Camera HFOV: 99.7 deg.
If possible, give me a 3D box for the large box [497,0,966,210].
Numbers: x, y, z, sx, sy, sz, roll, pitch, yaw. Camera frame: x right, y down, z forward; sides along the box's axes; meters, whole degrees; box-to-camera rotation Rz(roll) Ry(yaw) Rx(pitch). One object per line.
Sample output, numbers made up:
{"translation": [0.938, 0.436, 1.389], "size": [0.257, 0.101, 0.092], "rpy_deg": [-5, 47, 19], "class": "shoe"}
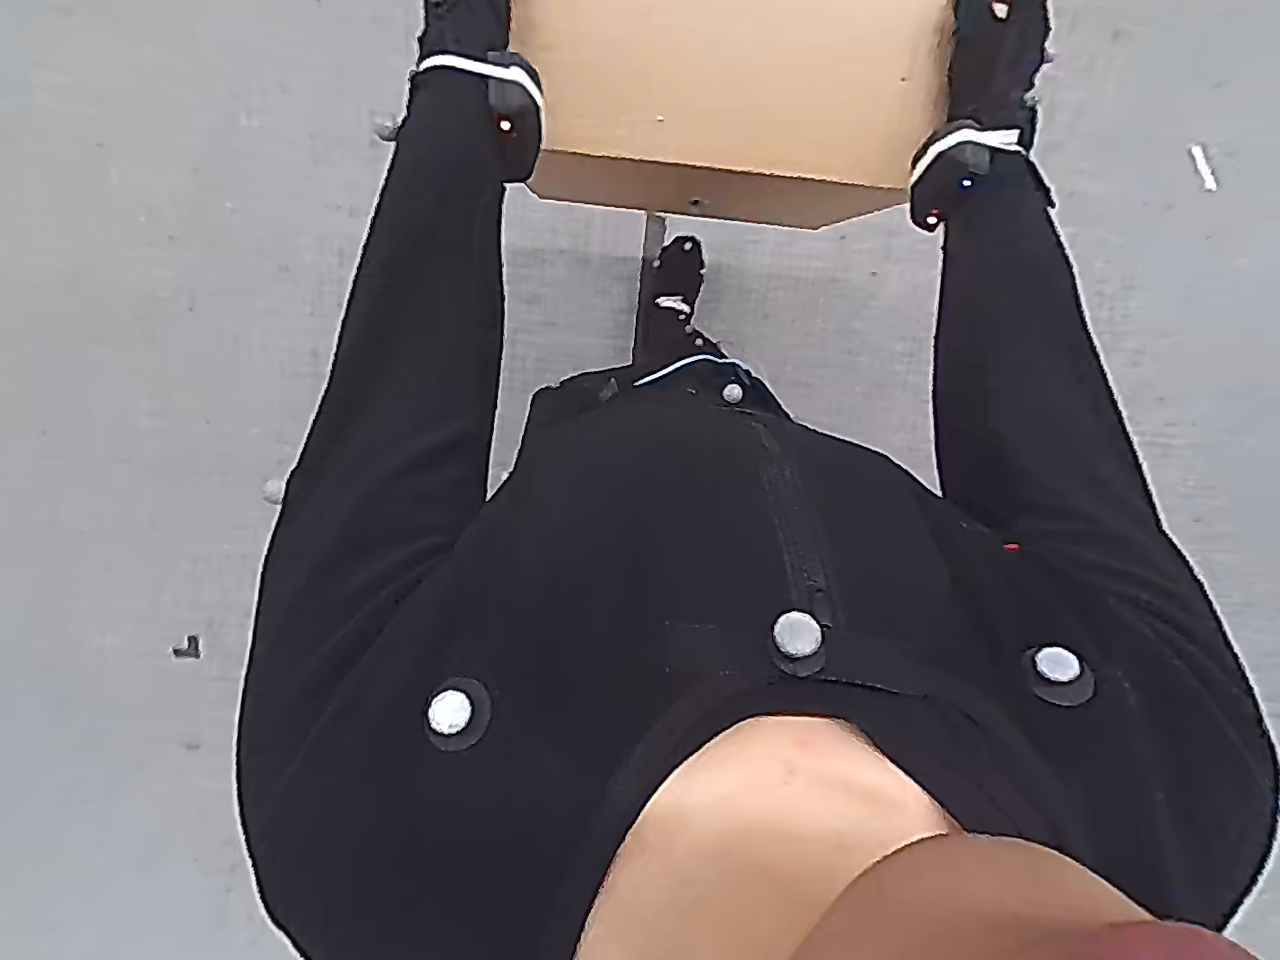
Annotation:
{"translation": [0.078, -0.488, 0.579], "size": [0.408, 0.320, 0.320], "rpy_deg": [4, 109, -4], "class": "large box"}
